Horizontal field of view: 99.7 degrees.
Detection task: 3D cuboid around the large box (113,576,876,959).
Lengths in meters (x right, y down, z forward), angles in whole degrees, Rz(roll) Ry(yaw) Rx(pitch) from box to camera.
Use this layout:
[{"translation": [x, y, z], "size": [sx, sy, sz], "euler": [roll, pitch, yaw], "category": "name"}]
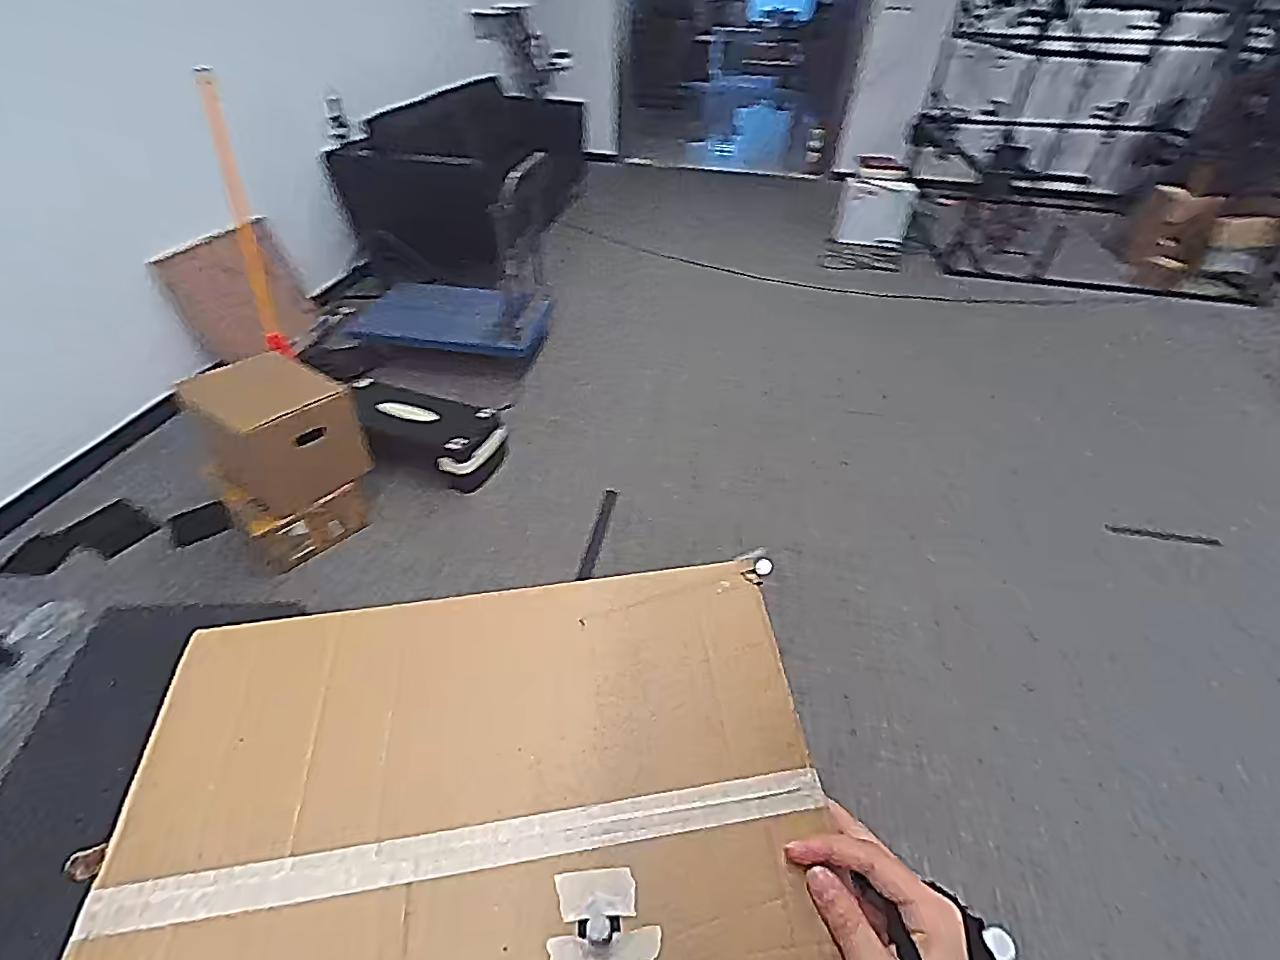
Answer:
[{"translation": [-0.083, 0.306, 0.430], "size": [0.408, 0.320, 0.320], "euler": [-5, 54, -5], "category": "large box"}]
